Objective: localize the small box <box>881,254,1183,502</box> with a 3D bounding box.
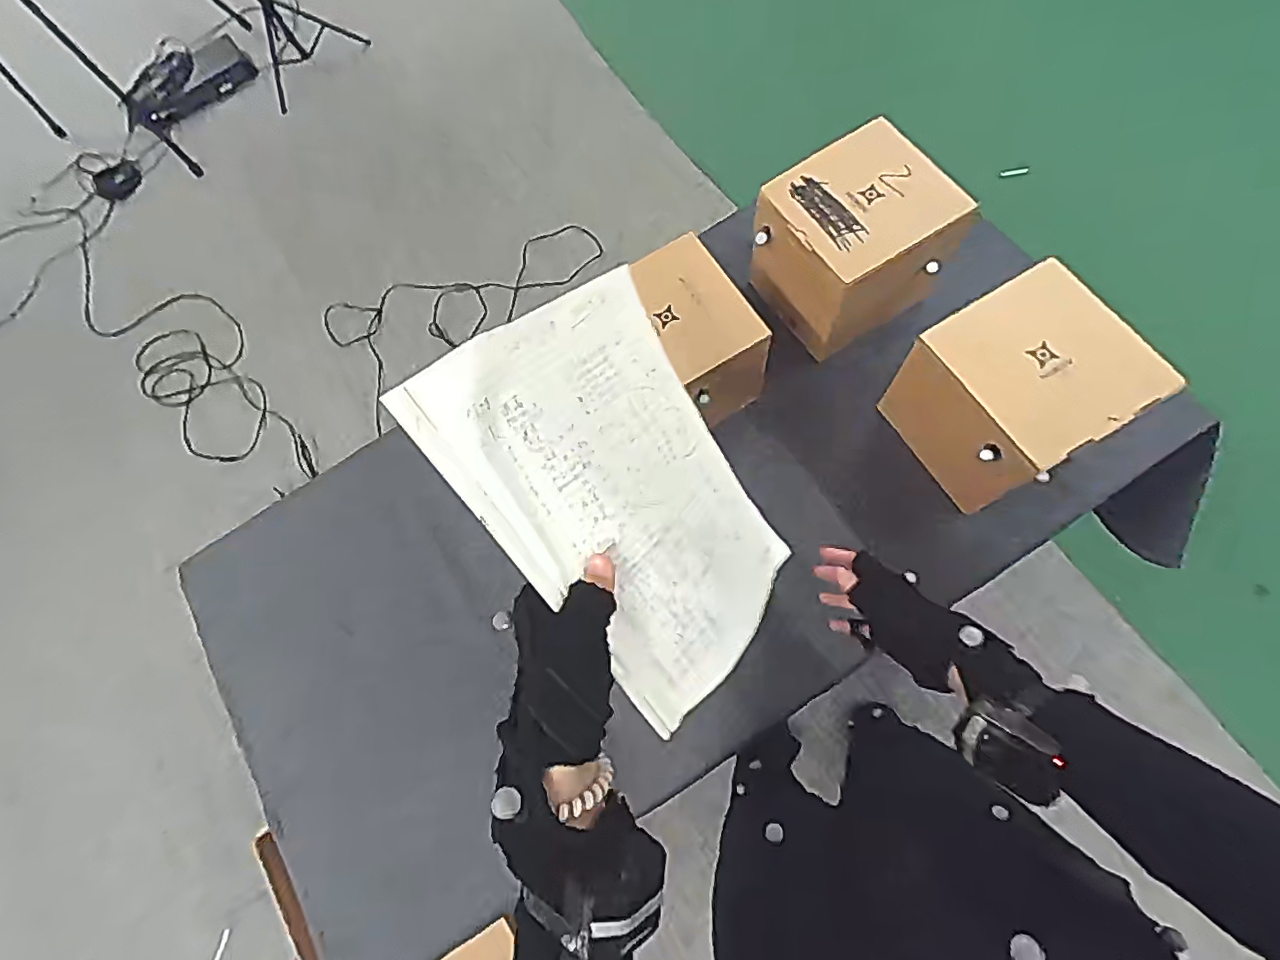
[{"bbox_3d":[0.404,-0.101,0.601,0.168,0.176,0.179,-30,71,-2],"label":"small box"}]
